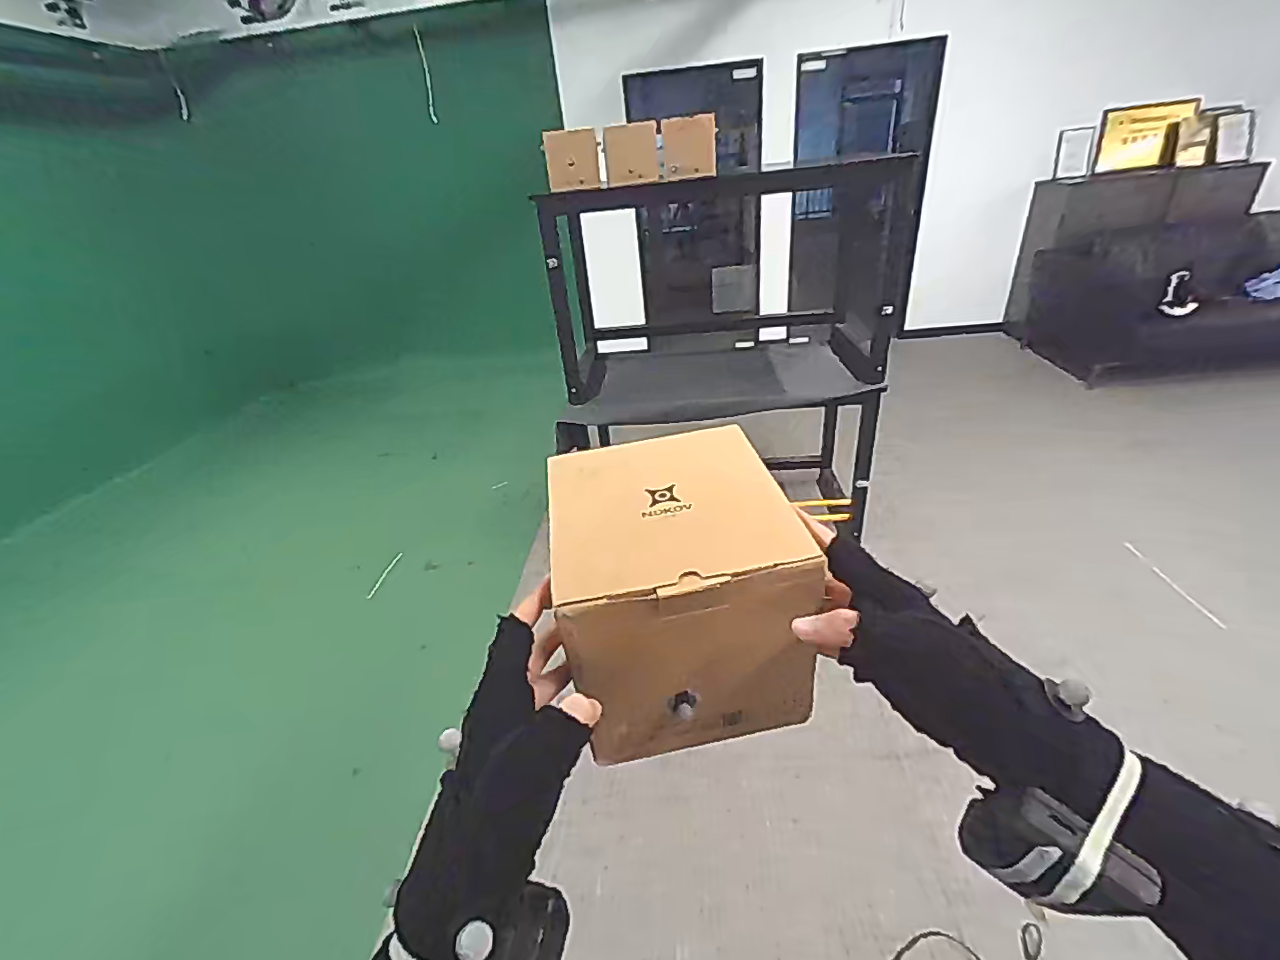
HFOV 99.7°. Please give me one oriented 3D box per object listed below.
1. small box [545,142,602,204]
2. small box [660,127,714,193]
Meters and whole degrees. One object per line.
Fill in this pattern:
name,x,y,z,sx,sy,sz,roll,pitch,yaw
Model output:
small box,-0.219,-1.036,1.830,0.168,0.176,0.179,-5,29,-1
small box,0.161,-1.061,1.799,0.168,0.176,0.179,-2,29,8
